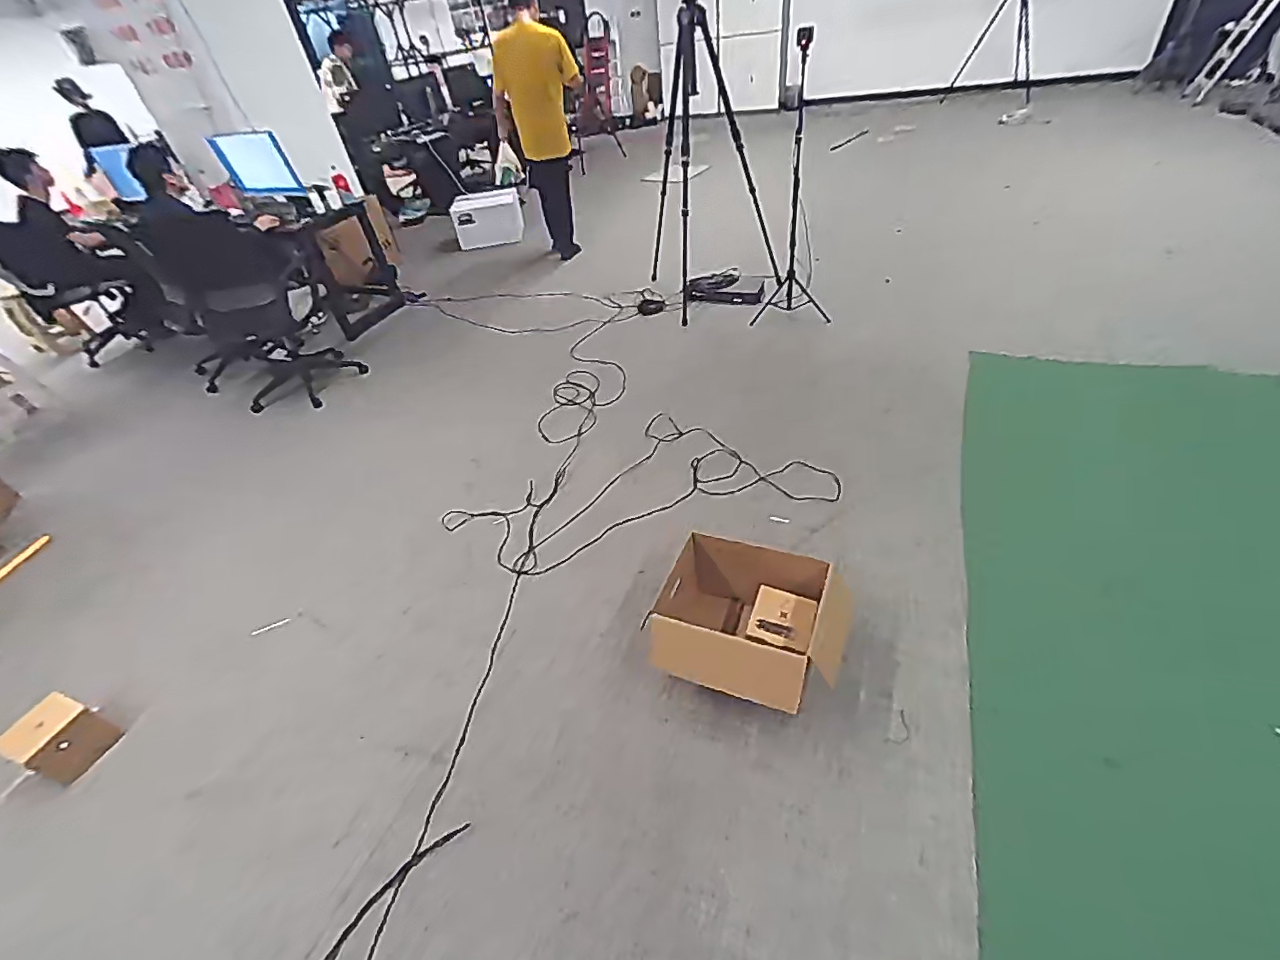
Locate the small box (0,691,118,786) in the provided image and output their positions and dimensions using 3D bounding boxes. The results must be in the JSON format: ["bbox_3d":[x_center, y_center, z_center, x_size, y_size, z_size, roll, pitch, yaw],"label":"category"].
[{"bbox_3d":[-1.714,0.765,1.598,0.168,0.176,0.179,10,46,20],"label":"small box"}]
